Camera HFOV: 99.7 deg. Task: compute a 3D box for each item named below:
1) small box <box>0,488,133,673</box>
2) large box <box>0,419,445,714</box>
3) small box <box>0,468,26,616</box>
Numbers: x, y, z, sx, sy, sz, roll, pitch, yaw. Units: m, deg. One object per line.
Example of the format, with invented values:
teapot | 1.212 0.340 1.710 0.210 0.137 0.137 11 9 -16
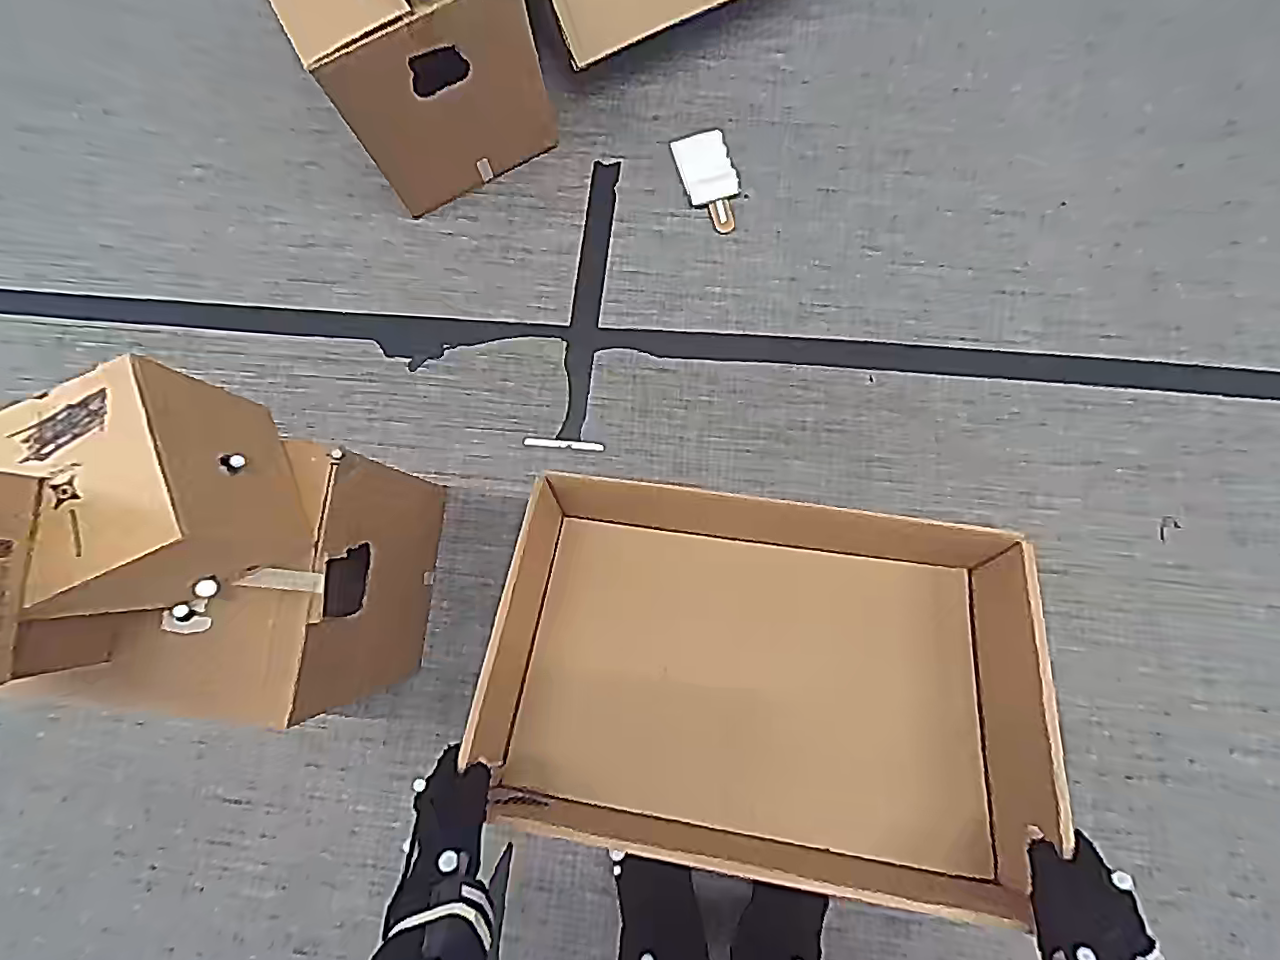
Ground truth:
small box | -0.652 0.091 0.520 0.168 0.176 0.179 4 80 1
large box | -0.543 0.113 0.756 0.408 0.320 0.320 4 82 3
small box | -0.581 0.063 0.354 0.179 0.176 0.168 -1 82 3
